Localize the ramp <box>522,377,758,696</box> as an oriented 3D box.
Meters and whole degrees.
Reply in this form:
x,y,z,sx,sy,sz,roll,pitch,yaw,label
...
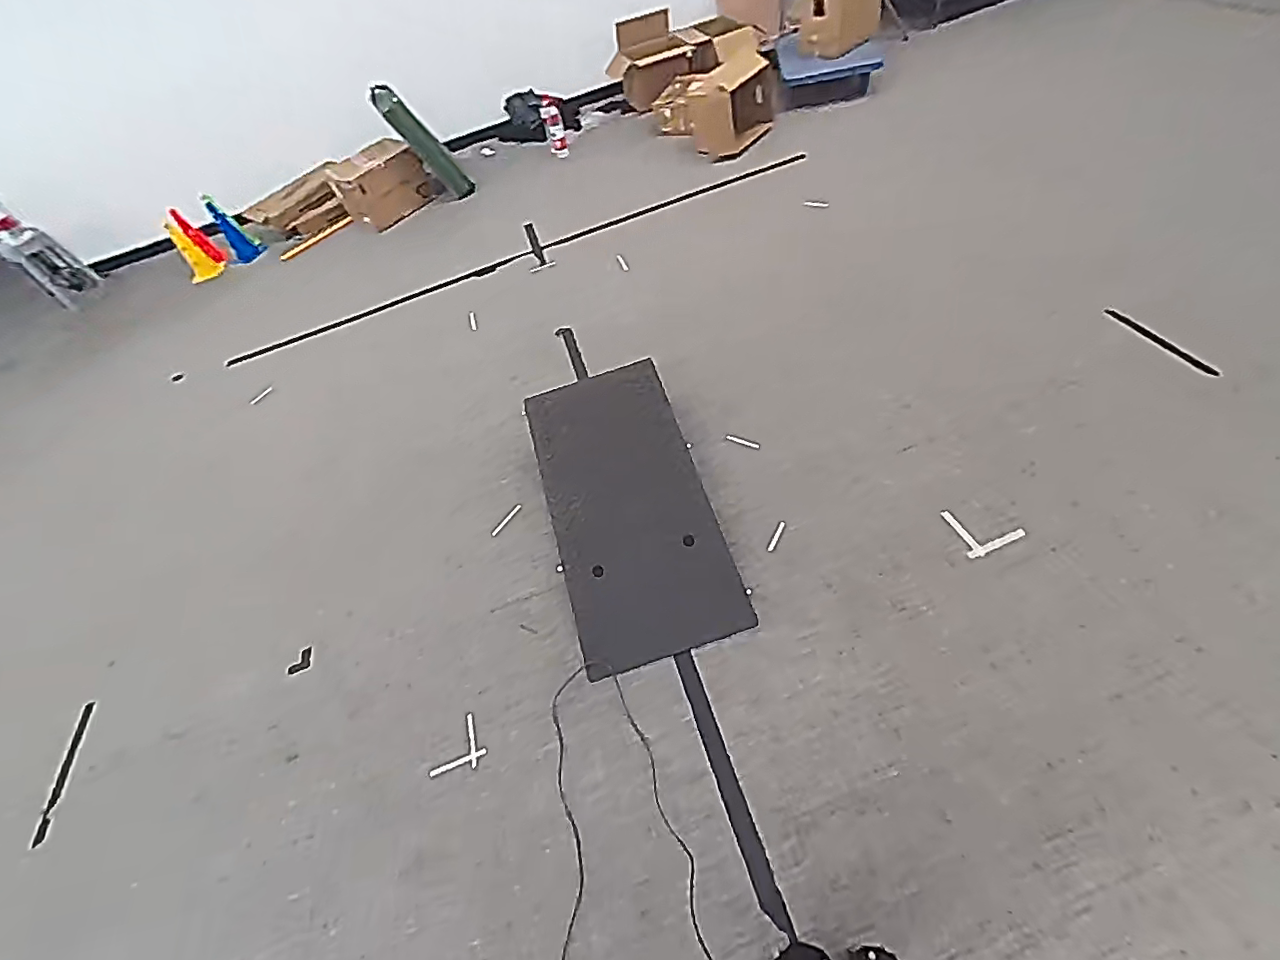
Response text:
x,y,z,sx,sy,sz,roll,pitch,yaw,label
-0.046,0.109,1.727,0.509,0.206,0.991,-21,50,-3,ramp
